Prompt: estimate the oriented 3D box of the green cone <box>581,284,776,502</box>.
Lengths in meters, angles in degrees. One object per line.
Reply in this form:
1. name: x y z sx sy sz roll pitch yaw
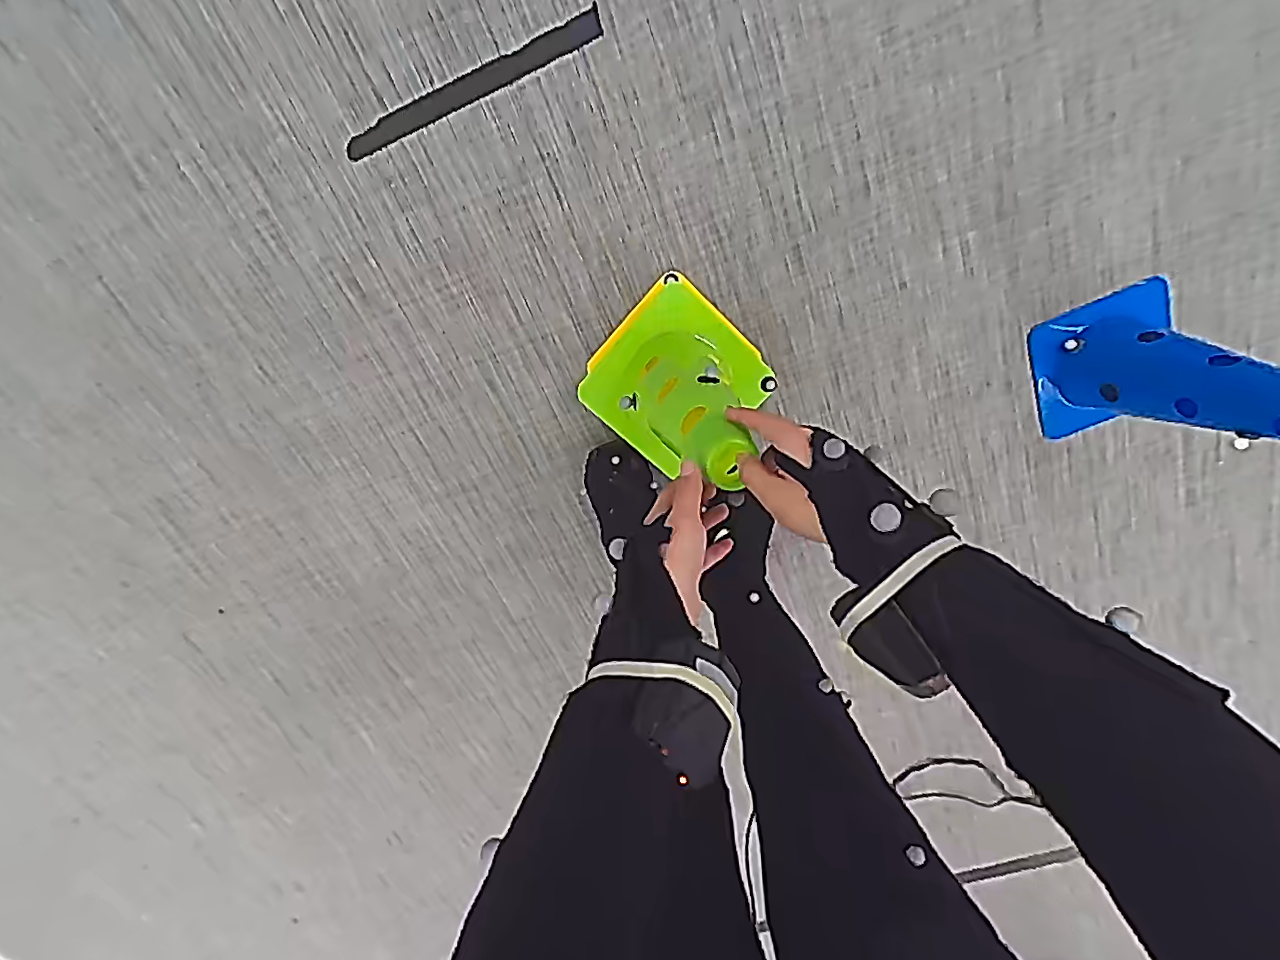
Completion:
1. green cone: 0.057 -0.066 0.549 0.200 0.368 0.202 39 103 -14
